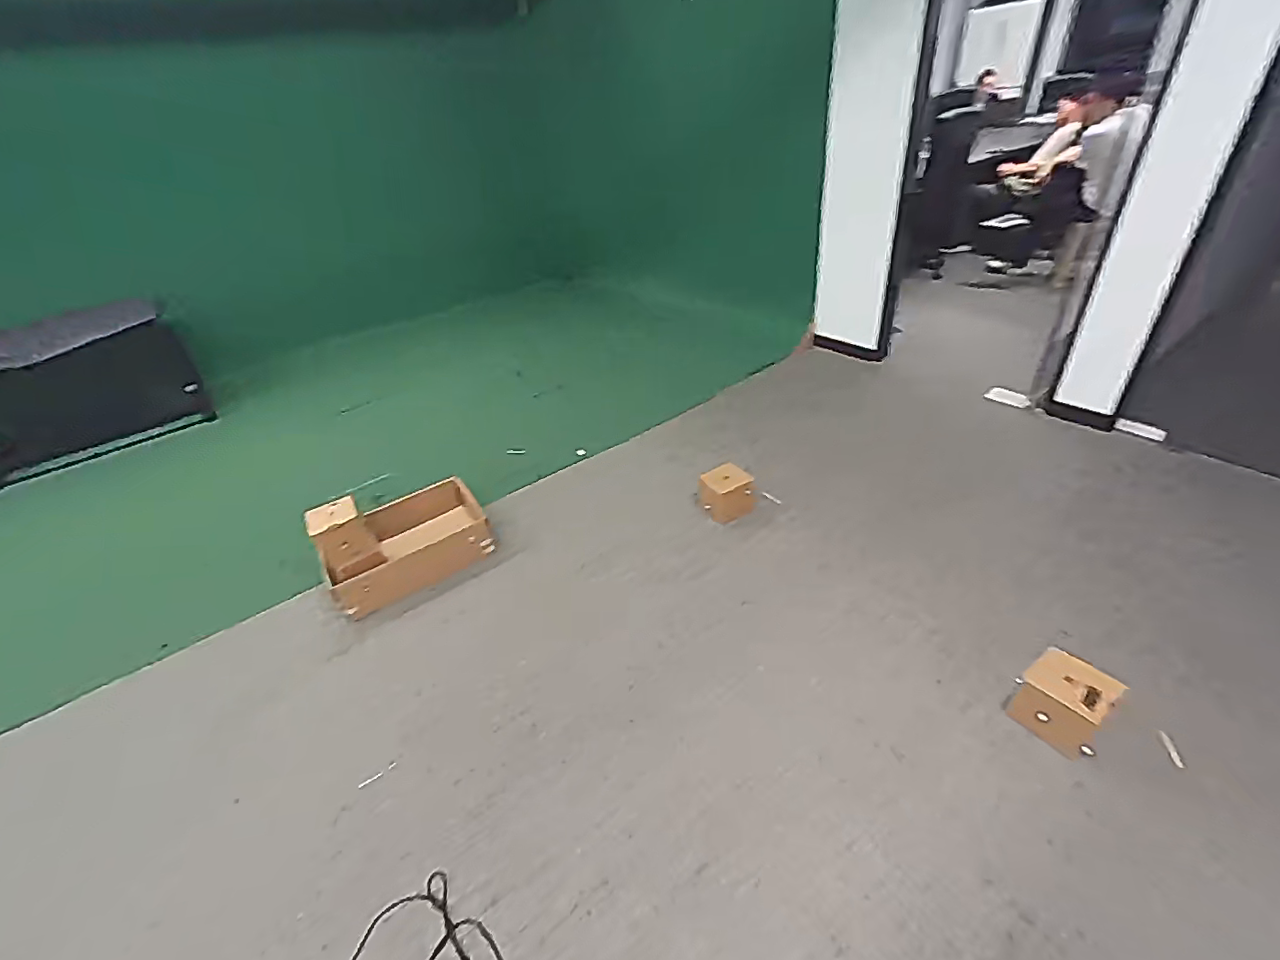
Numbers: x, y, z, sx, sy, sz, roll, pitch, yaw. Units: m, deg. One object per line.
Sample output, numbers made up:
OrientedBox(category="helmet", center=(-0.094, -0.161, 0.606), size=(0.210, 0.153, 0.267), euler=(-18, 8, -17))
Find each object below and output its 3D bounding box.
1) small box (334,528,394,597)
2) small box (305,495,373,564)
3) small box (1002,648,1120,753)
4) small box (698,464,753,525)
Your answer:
OrientedBox(category="small box", center=(-1.103, 0.326, 2.135), size=(0.168, 0.176, 0.179), euler=(-29, 42, -26))
OrientedBox(category="small box", center=(-1.135, 0.194, 2.043), size=(0.168, 0.176, 0.179), euler=(-25, 41, -22))
OrientedBox(category="small box", center=(1.119, 0.597, 1.449), size=(0.168, 0.176, 0.179), euler=(-27, 39, -24))
OrientedBox(category="small box", center=(0.363, 0.061, 2.318), size=(0.179, 0.176, 0.168), euler=(-24, 38, -21))
